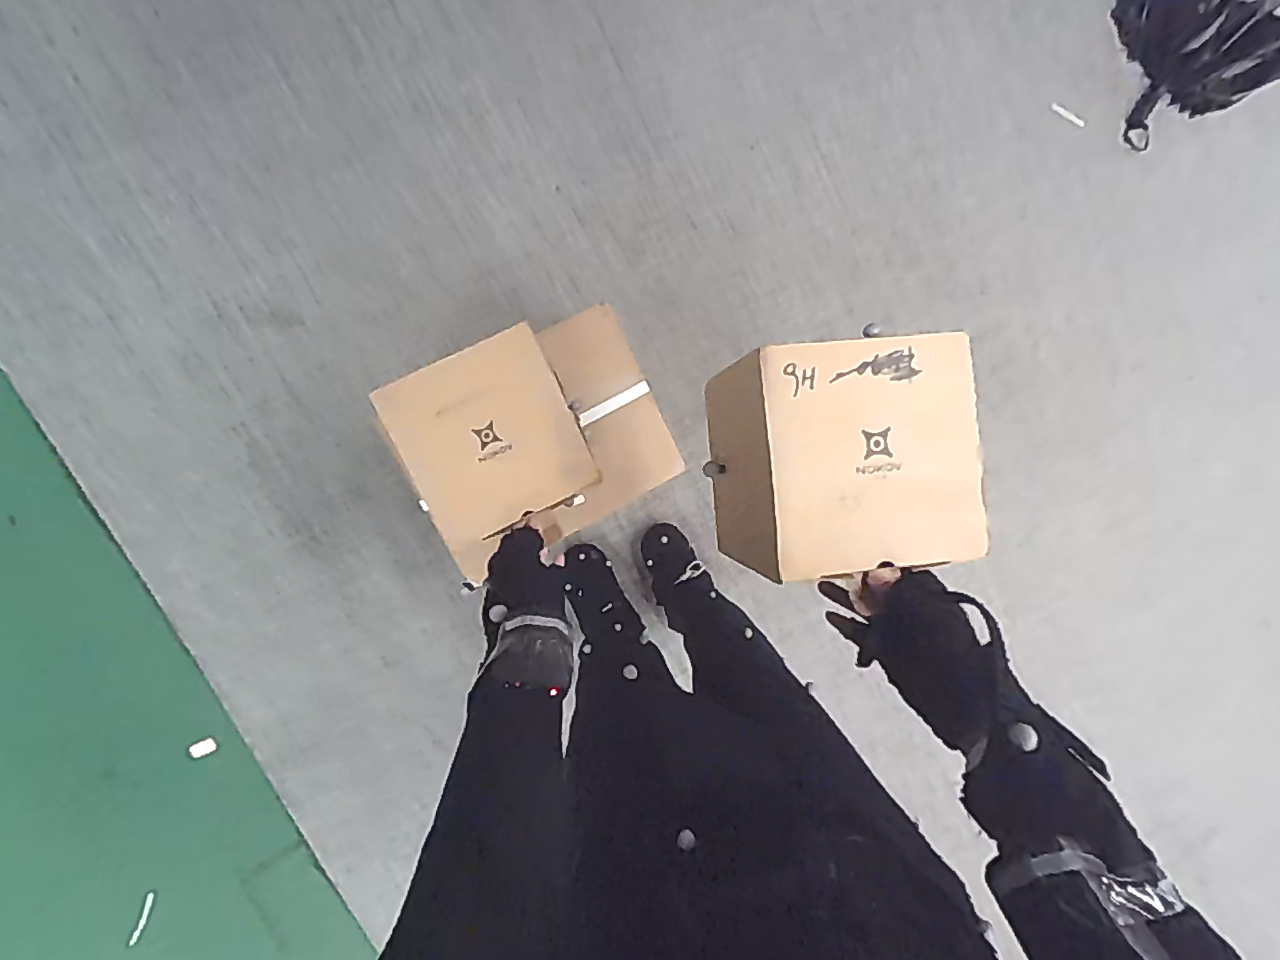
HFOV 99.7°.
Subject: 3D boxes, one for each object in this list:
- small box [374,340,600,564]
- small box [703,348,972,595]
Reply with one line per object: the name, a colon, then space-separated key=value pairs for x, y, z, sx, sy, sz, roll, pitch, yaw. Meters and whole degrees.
small box: x=-0.154 y=-0.034 z=0.611 sx=0.168 sy=0.176 sz=0.179 roll=-27 pitch=96 yaw=-3
small box: x=0.160 y=-0.011 z=0.486 sx=0.168 sy=0.176 sz=0.179 roll=-6 pitch=92 yaw=-6
